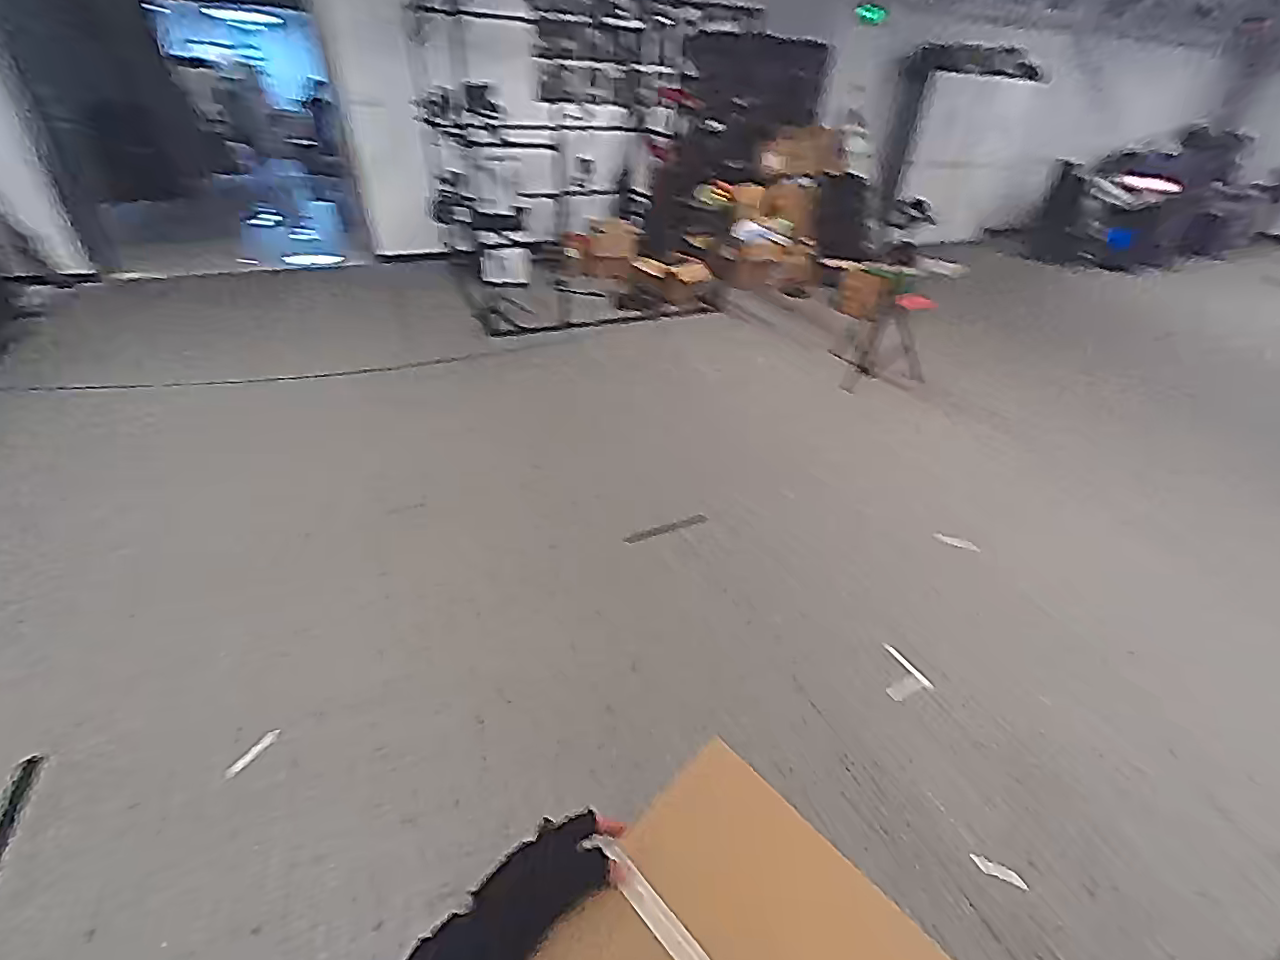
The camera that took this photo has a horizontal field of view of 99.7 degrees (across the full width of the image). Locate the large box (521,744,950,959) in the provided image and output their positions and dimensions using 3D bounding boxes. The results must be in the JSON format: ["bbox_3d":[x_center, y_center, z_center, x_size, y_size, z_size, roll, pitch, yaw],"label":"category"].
[{"bbox_3d":[0.104,0.560,0.514,0.408,0.320,0.320,36,51,29],"label":"large box"}]
